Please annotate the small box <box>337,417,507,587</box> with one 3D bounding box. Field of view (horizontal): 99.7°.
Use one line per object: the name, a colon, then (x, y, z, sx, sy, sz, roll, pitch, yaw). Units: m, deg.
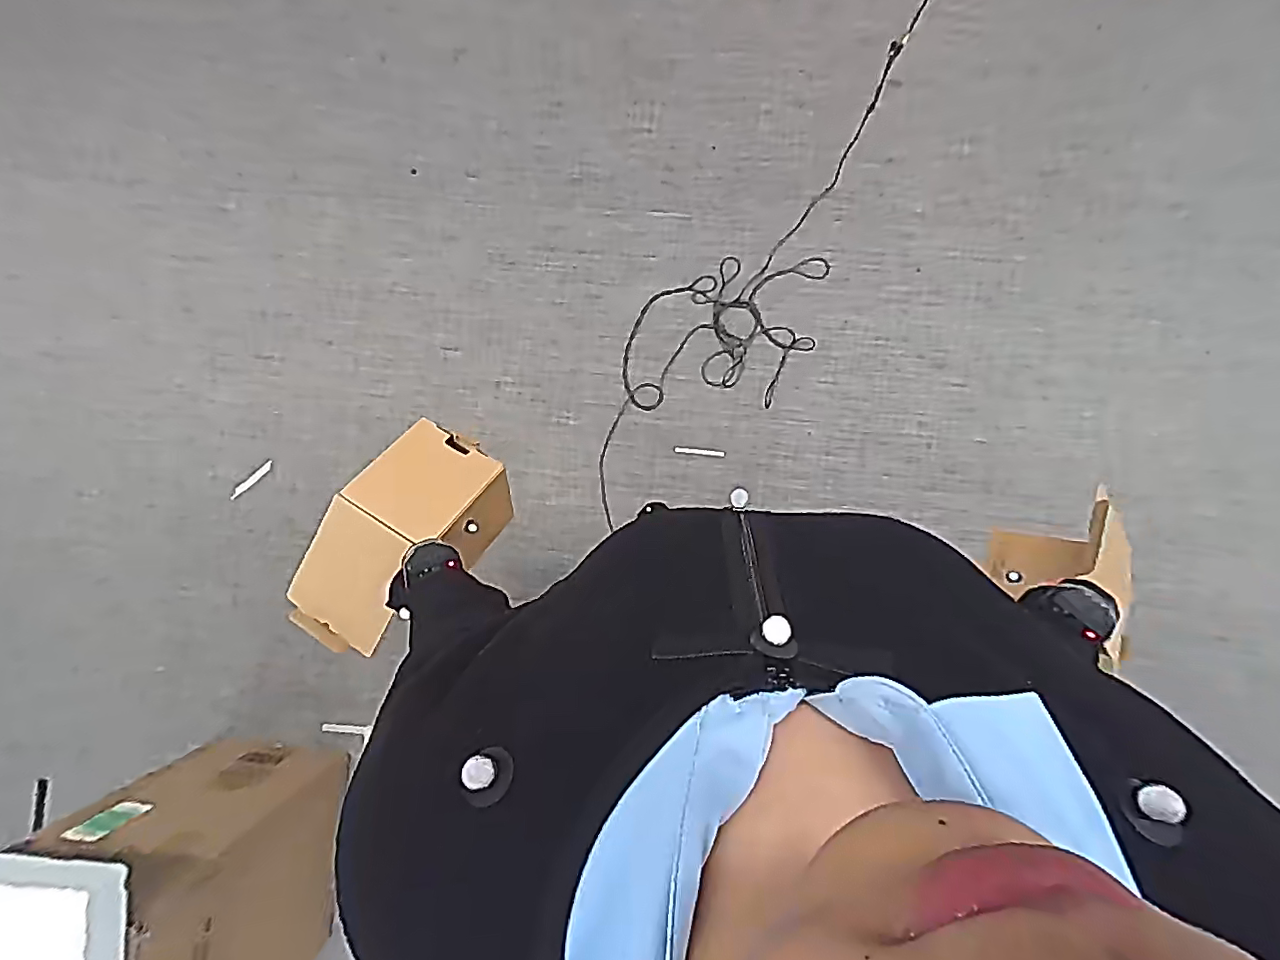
small box: (-0.326, 0.041, 0.856, 0.168, 0.176, 0.179, 31, 59, 11)
